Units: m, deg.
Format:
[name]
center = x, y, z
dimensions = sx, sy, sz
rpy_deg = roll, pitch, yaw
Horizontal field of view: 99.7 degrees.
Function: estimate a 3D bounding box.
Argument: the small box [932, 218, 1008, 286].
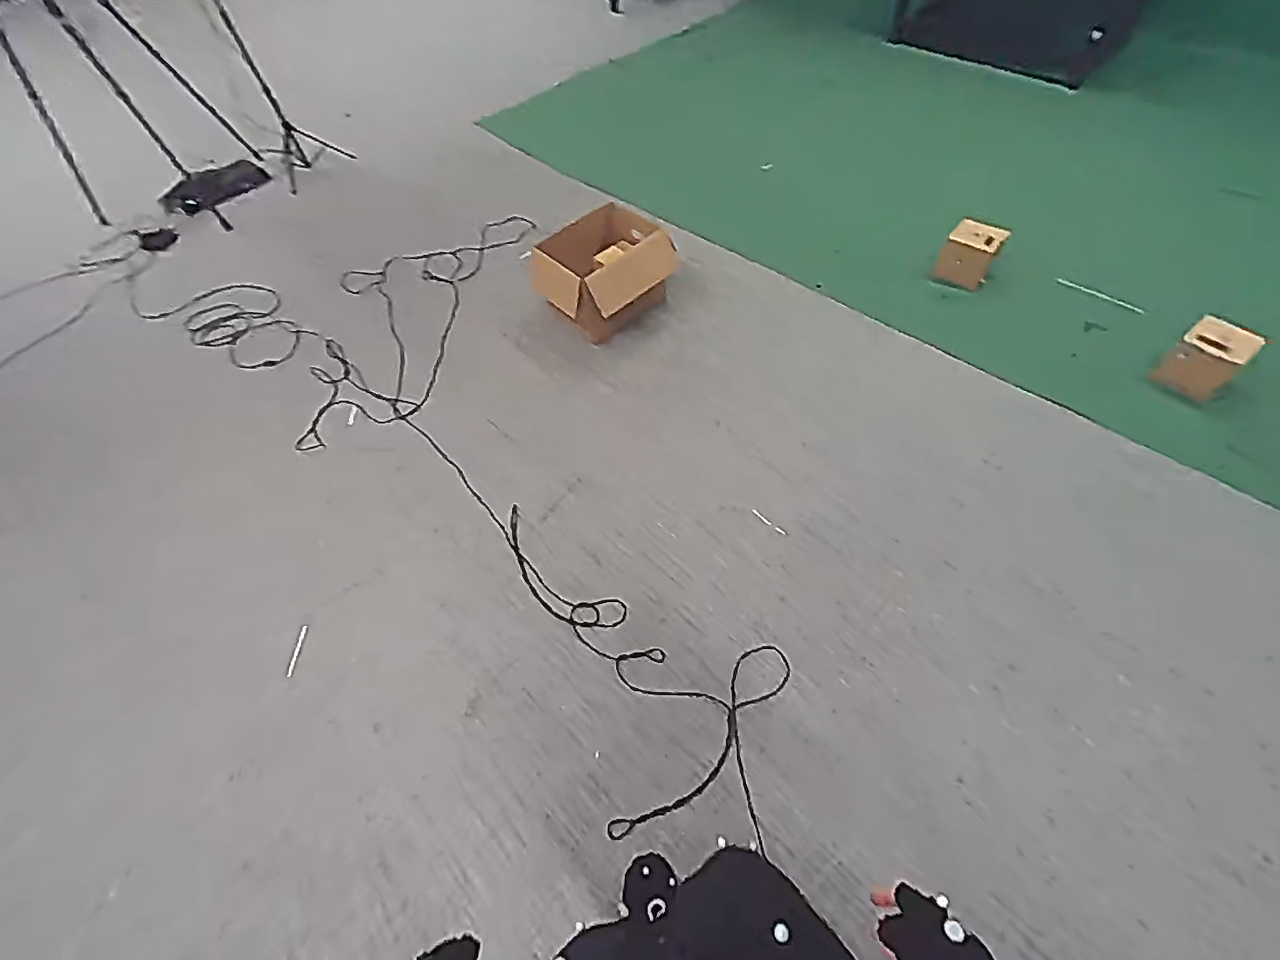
[small box]
center = 1.304, -0.898, 2.145
dimensions = 0.179, 0.176, 0.168
rpy_deg = 35, 65, 26
